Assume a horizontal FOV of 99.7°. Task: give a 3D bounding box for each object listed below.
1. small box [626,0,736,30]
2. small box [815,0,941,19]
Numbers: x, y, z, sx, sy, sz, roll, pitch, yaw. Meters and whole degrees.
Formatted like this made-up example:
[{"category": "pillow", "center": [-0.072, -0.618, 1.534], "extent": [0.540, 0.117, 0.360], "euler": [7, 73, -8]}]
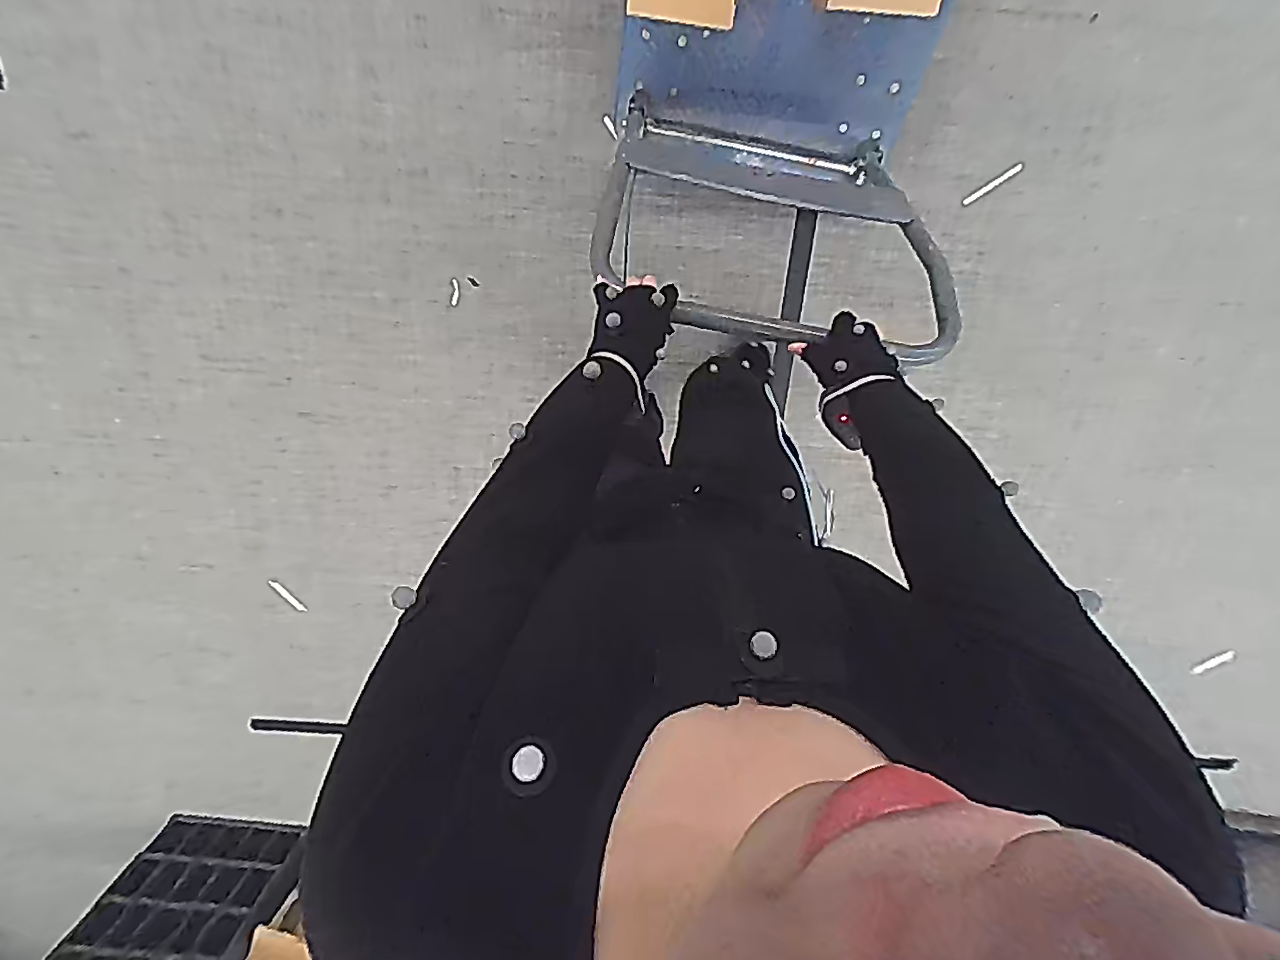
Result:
[{"category": "small box", "center": [0.077, -0.854, 0.879], "extent": [0.179, 0.176, 0.168], "euler": [7, 134, -2]}, {"category": "small box", "center": [0.389, -0.844, 0.851], "extent": [0.179, 0.176, 0.168], "euler": [6, 134, 1]}]
